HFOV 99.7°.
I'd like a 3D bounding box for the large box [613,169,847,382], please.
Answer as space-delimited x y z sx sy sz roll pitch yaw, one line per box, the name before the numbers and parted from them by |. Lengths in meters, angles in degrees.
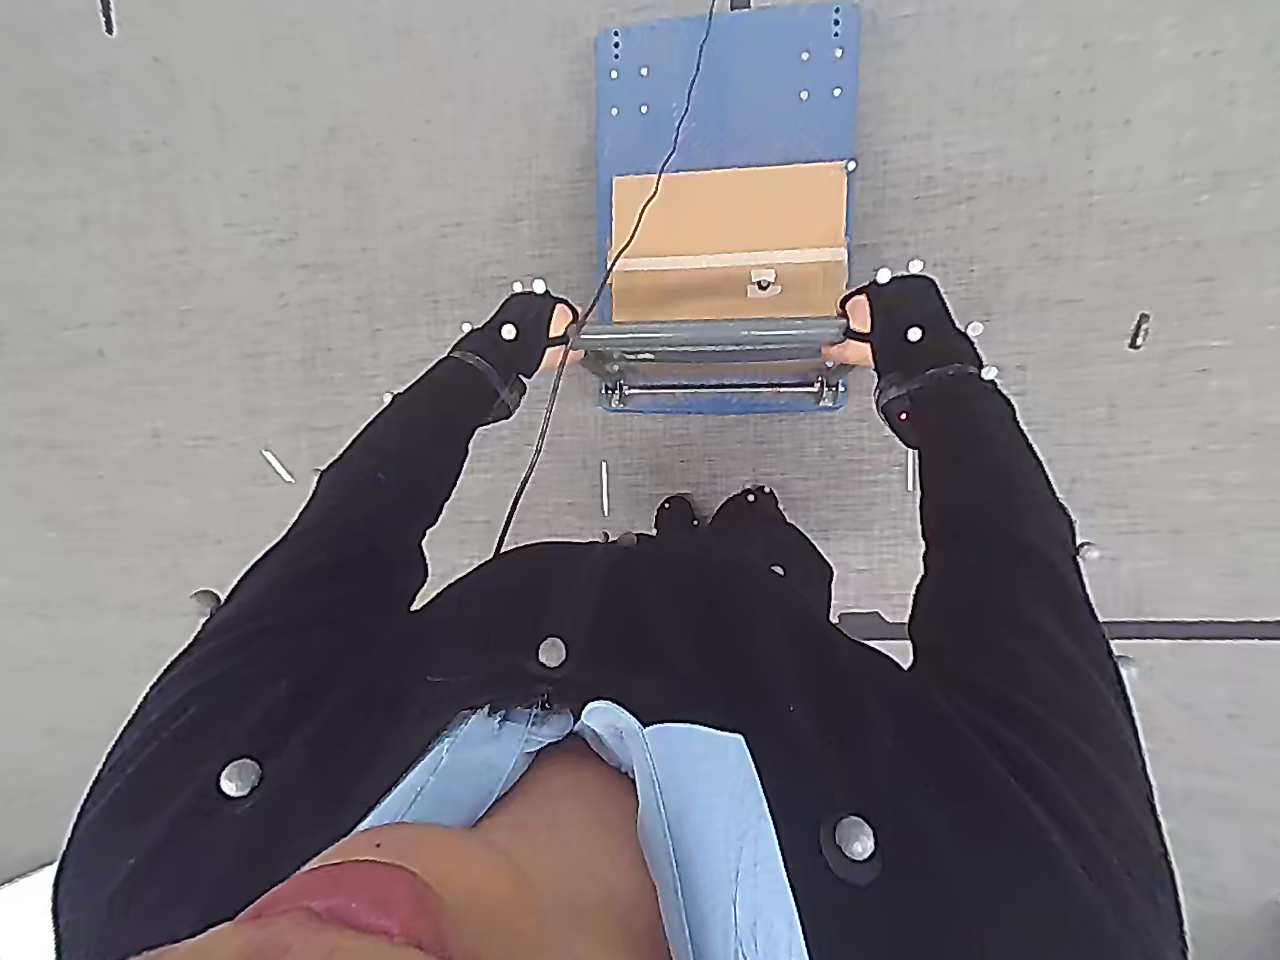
large box | 0.168 -0.375 1.083 0.408 0.320 0.320 0 94 8
